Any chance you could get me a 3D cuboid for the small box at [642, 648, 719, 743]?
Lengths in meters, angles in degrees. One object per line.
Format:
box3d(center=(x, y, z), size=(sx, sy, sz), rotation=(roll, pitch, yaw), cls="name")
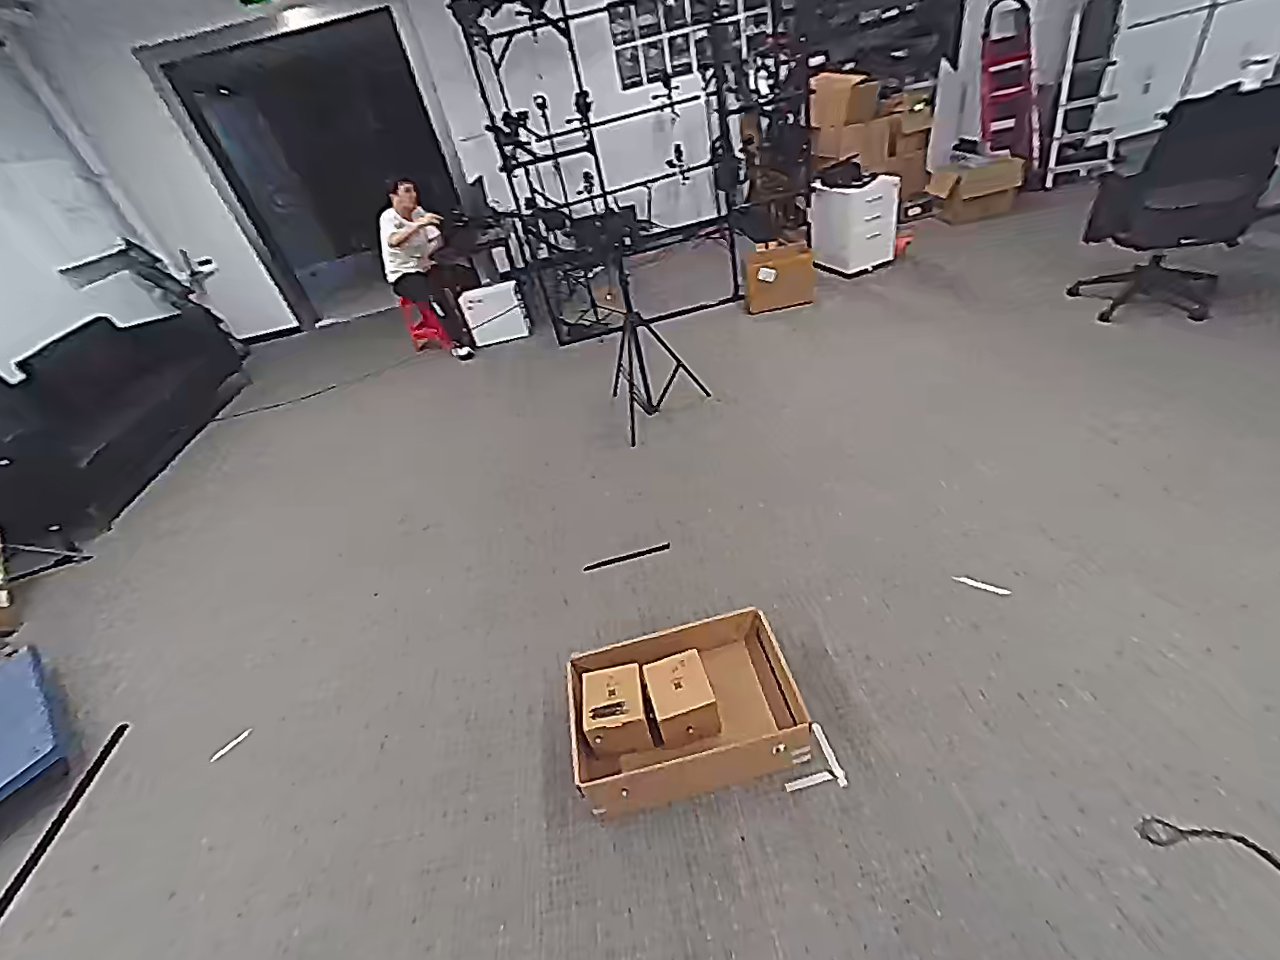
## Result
box3d(center=(0.117, 0.618, 1.533), size=(0.168, 0.176, 0.179), rotation=(-17, 37, -4), cls="small box")
